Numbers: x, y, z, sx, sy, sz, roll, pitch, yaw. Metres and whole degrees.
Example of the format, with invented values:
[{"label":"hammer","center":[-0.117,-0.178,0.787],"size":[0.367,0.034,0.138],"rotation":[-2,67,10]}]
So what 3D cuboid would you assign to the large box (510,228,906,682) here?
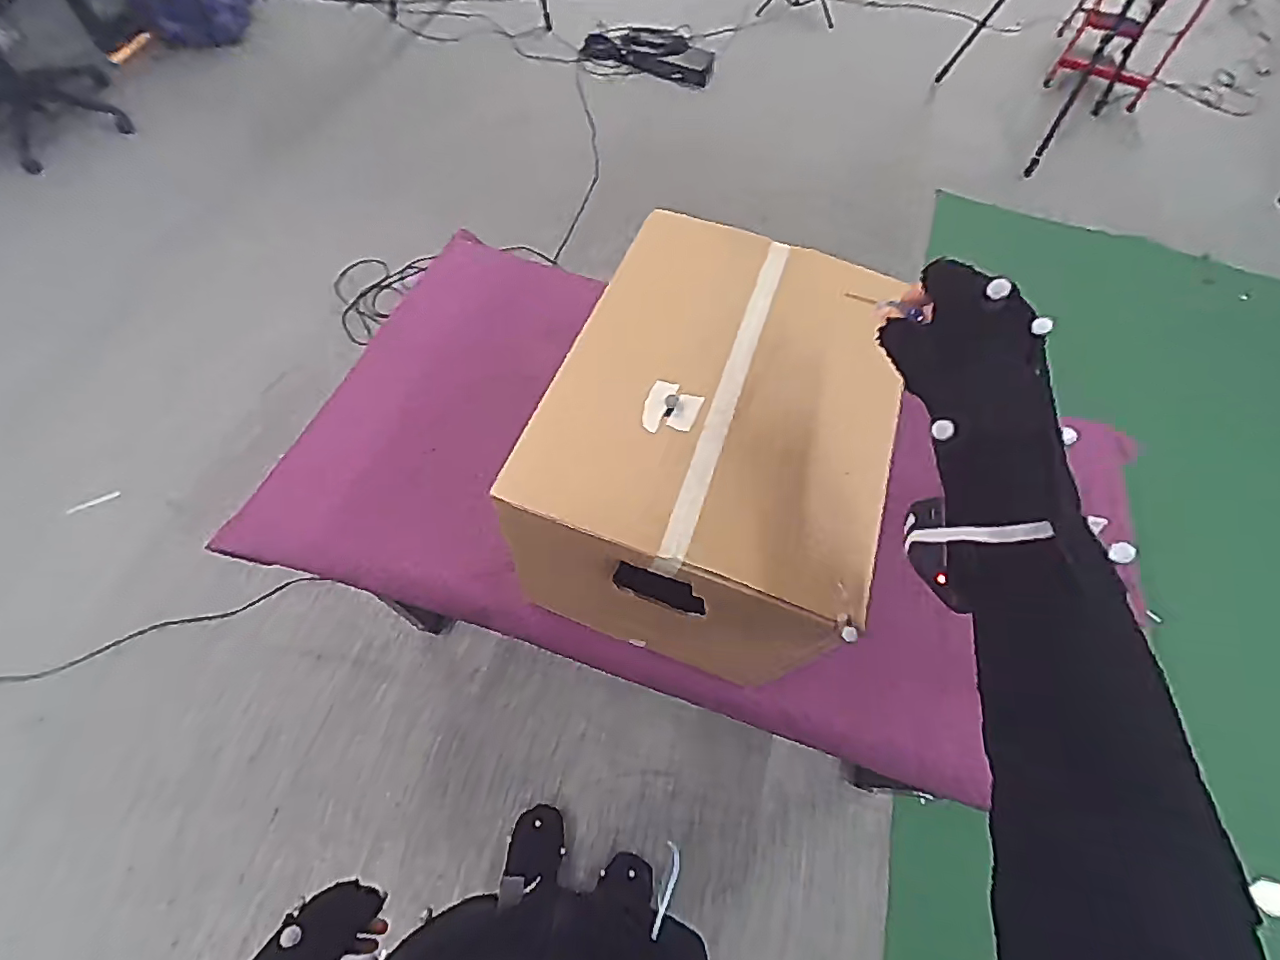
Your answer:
[{"label":"large box","center":[0.082,-0.018,0.668],"size":[0.320,0.320,0.408],"rotation":[20,62,6]}]
